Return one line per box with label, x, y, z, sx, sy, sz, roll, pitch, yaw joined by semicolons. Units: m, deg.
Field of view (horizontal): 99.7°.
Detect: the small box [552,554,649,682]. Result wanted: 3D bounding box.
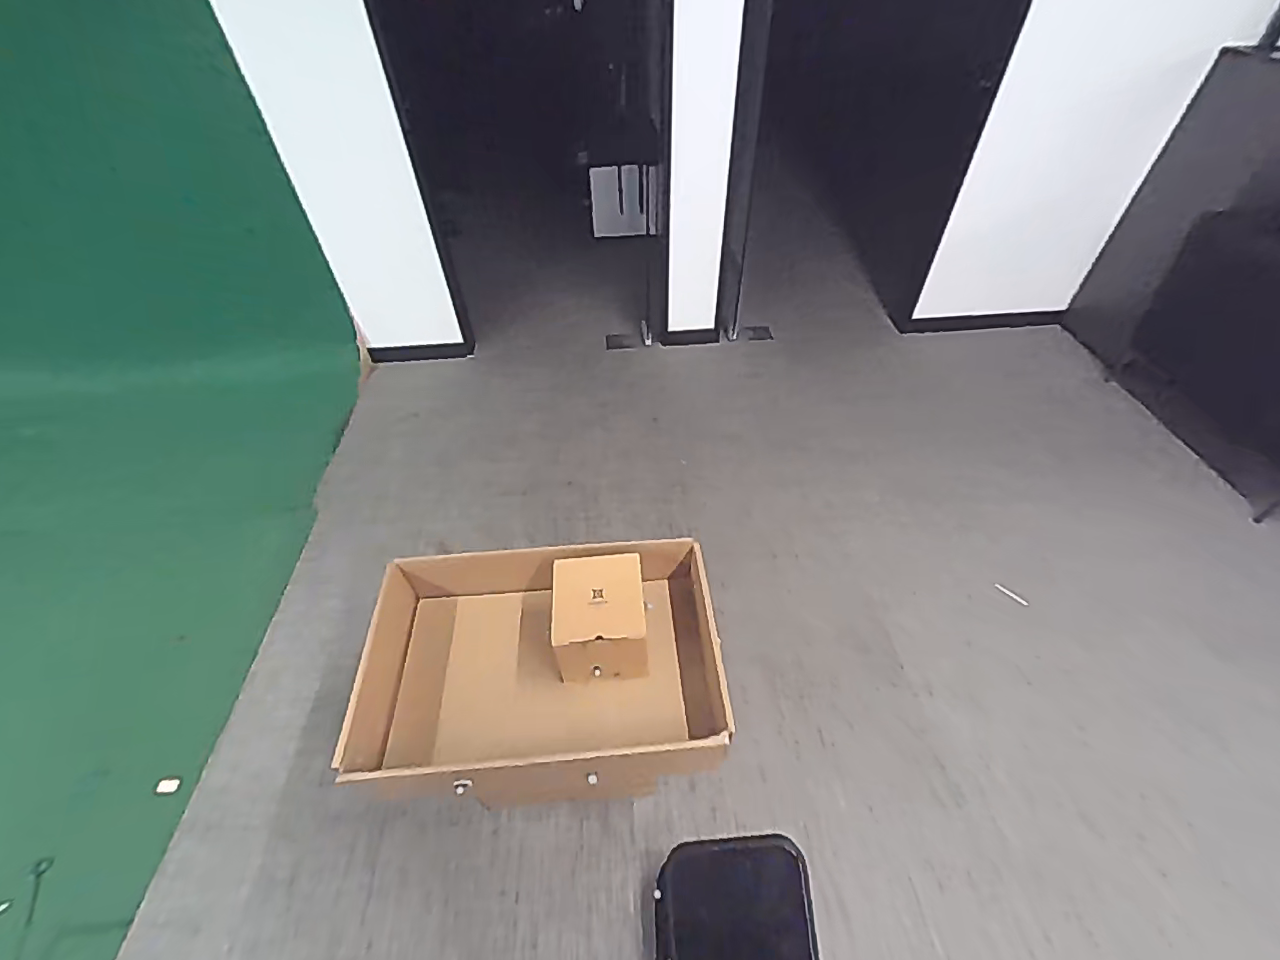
small box;-0.072;0.263;1.032;0.168;0.176;0.179;-5;48;-2
